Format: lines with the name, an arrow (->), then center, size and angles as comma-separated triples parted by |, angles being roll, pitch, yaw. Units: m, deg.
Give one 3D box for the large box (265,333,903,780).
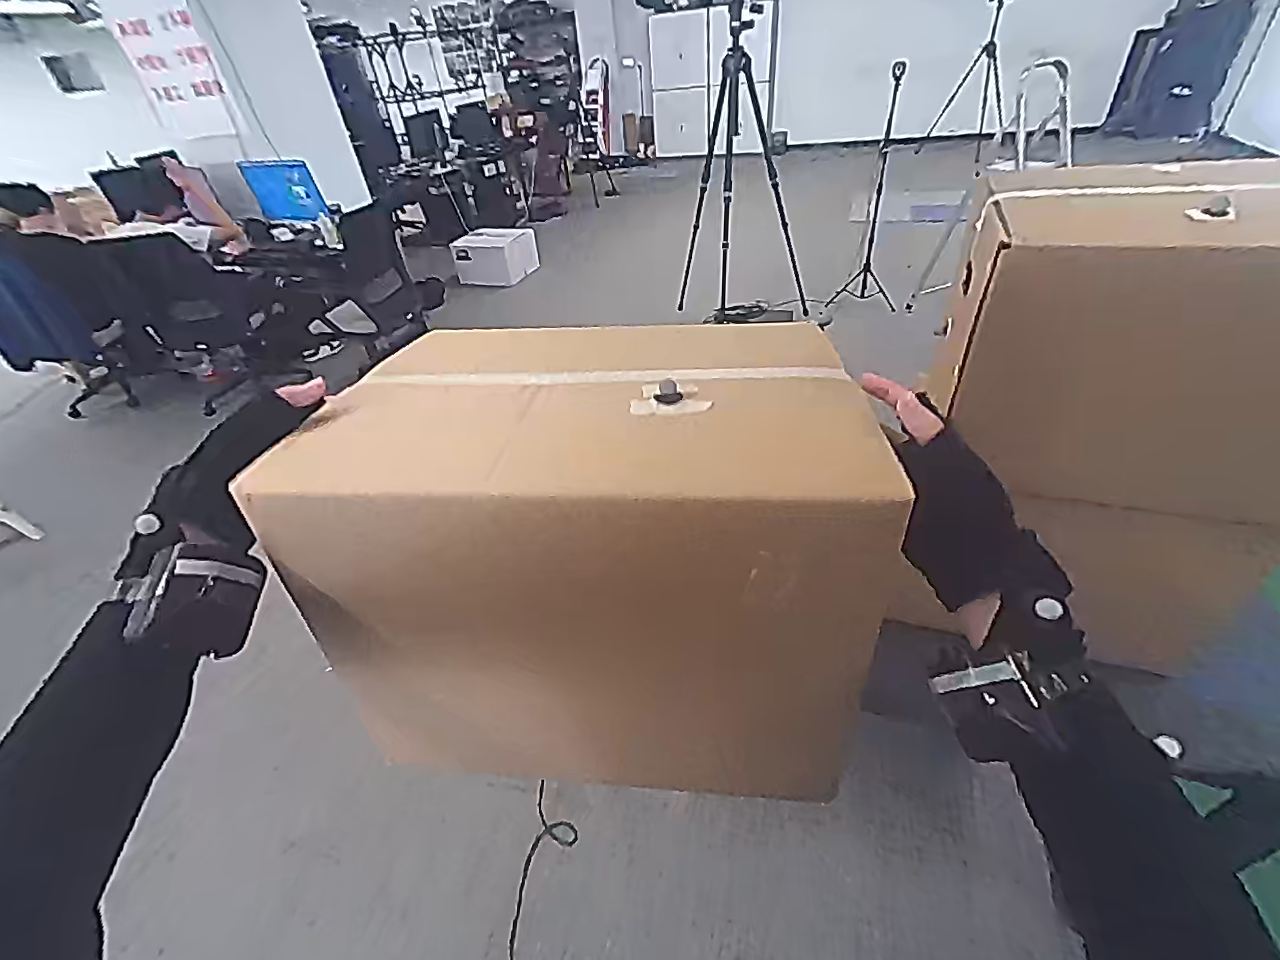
large box -> -0.028, 0.050, 0.529 | 0.408, 0.320, 0.320 | 2, 33, 6
